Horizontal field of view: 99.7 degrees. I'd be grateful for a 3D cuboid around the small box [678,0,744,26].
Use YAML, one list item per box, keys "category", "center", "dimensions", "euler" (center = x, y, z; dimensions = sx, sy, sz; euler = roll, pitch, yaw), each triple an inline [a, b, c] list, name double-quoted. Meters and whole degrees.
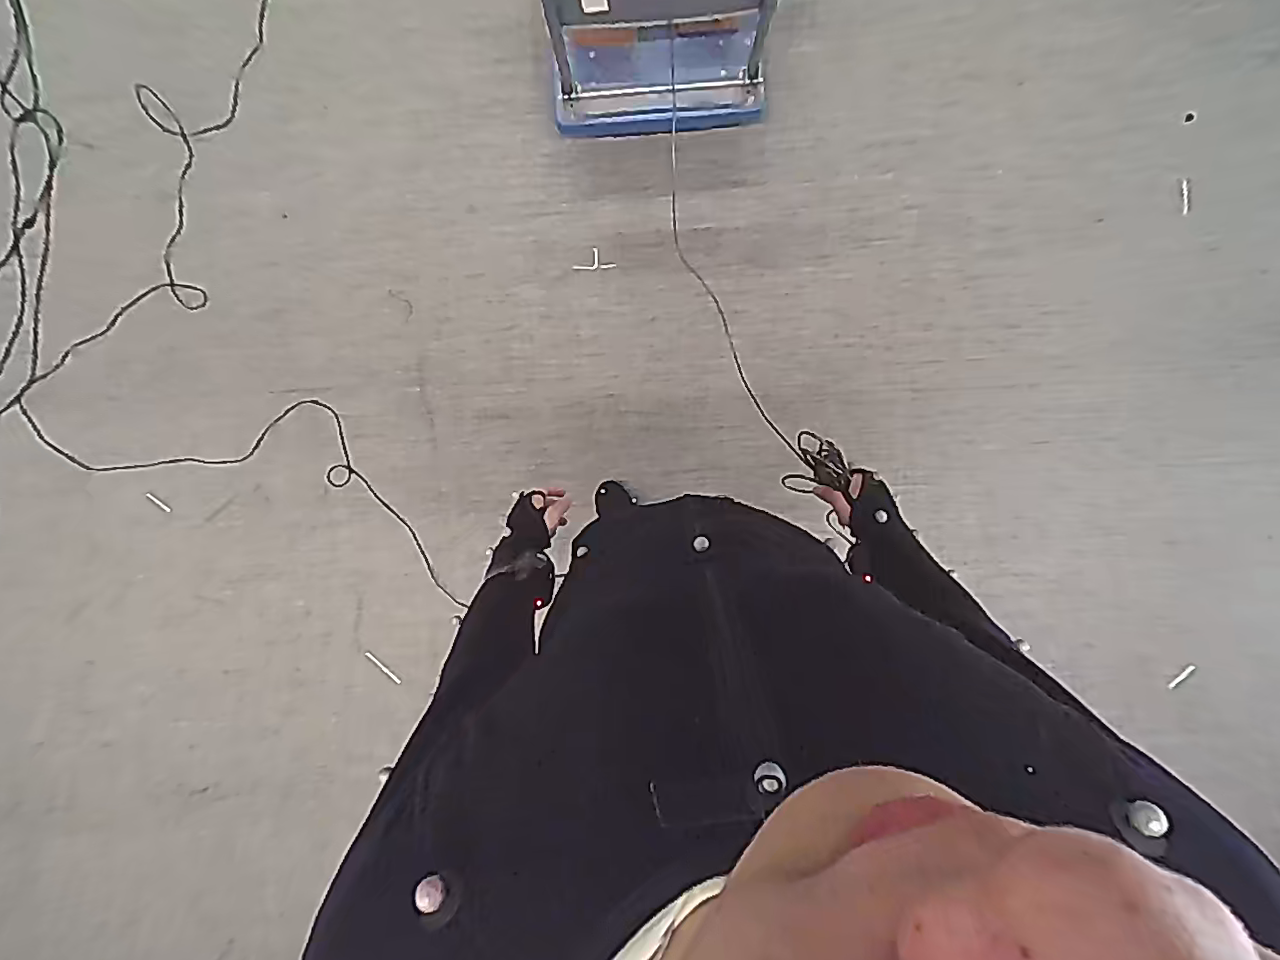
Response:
- category: "small box"
  center: [0.180, -1.299, 1.360]
  dimensions: [0.168, 0.176, 0.179]
  euler: [-2, 92, 2]
